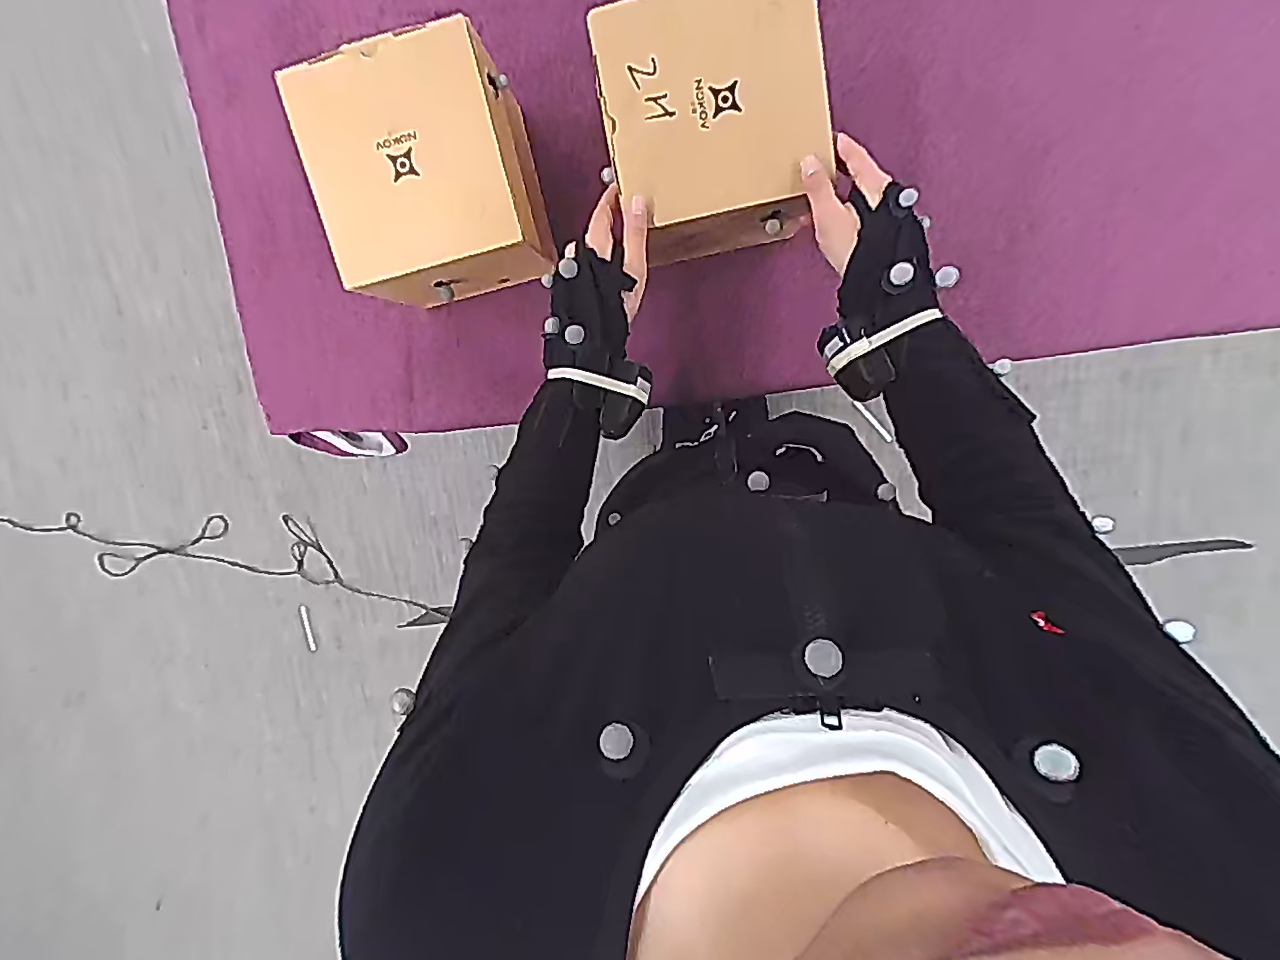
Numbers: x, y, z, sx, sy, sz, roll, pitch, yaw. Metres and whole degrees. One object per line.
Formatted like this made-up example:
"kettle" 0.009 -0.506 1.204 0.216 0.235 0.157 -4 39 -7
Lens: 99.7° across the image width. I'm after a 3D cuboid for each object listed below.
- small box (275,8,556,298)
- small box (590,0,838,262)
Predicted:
"small box" -0.192 -0.284 0.521 0.168 0.176 0.179 -13 100 5
"small box" 0.062 -0.316 0.500 0.179 0.176 0.168 -10 100 5
